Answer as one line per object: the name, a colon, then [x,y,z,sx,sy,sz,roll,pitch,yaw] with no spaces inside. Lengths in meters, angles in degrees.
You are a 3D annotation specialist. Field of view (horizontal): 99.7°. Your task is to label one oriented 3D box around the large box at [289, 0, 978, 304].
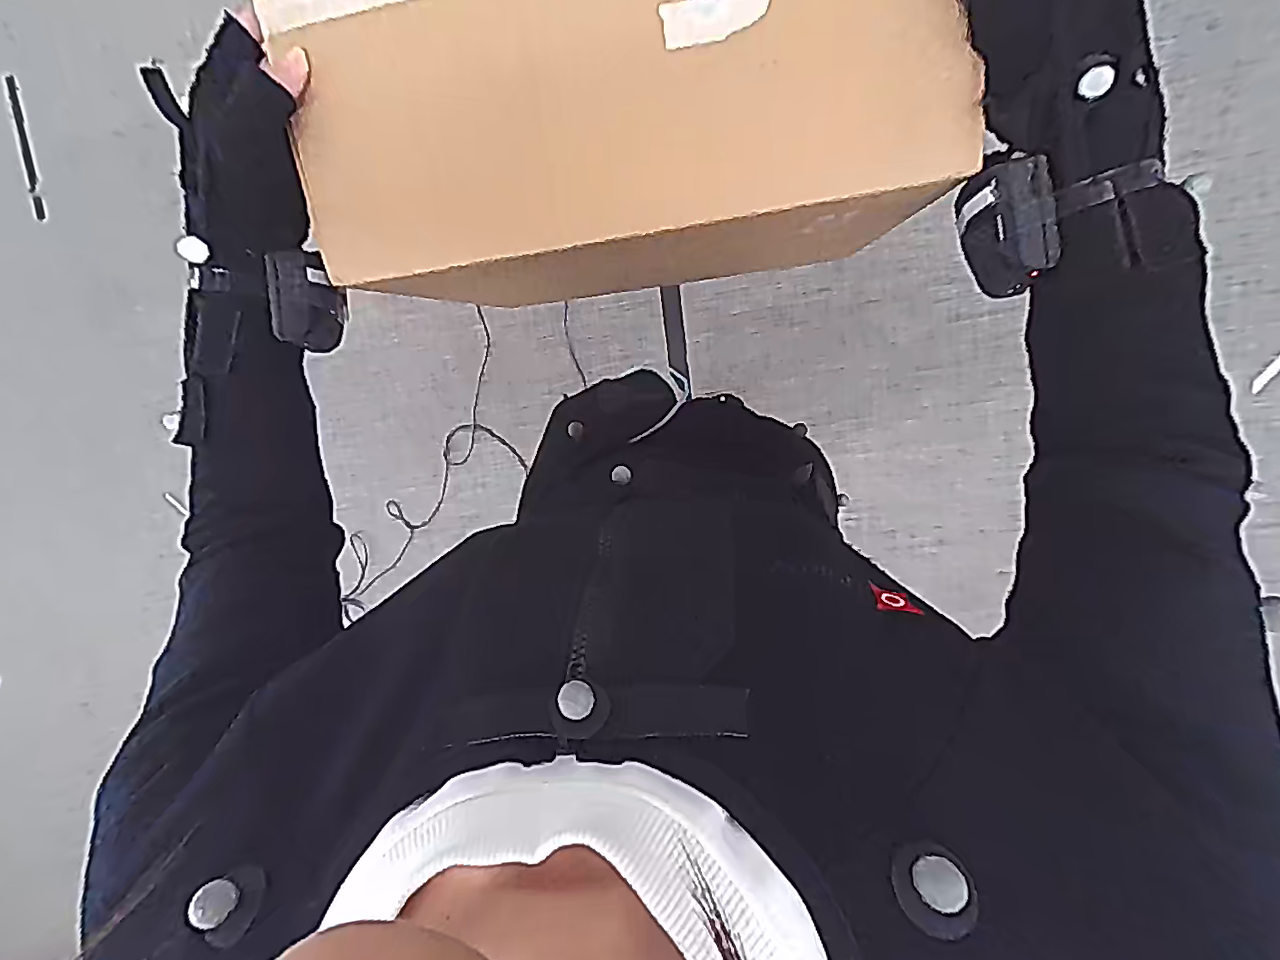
large box: [-0.006,-0.346,0.449,0.408,0.320,0.320,-6,104,9]
